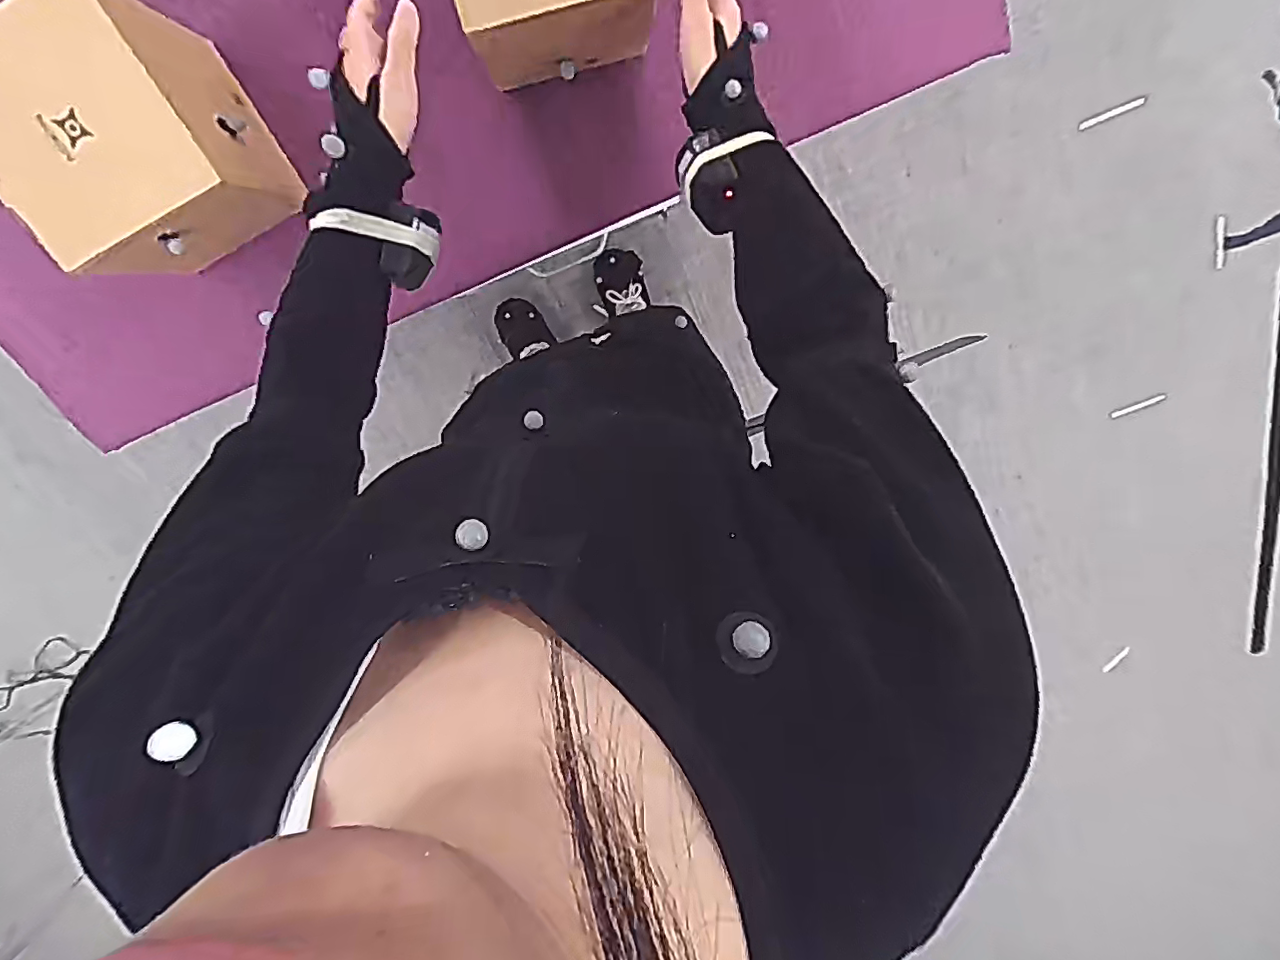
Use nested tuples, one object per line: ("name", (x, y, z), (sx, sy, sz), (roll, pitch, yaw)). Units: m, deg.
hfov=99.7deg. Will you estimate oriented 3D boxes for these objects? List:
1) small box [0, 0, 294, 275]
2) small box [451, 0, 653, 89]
("small box", (-0.477, -0.318, 0.520), (0.179, 0.176, 0.168), (-25, 112, 7))
("small box", (-0.090, -0.485, 0.477), (0.168, 0.176, 0.179), (-13, 113, 2))
